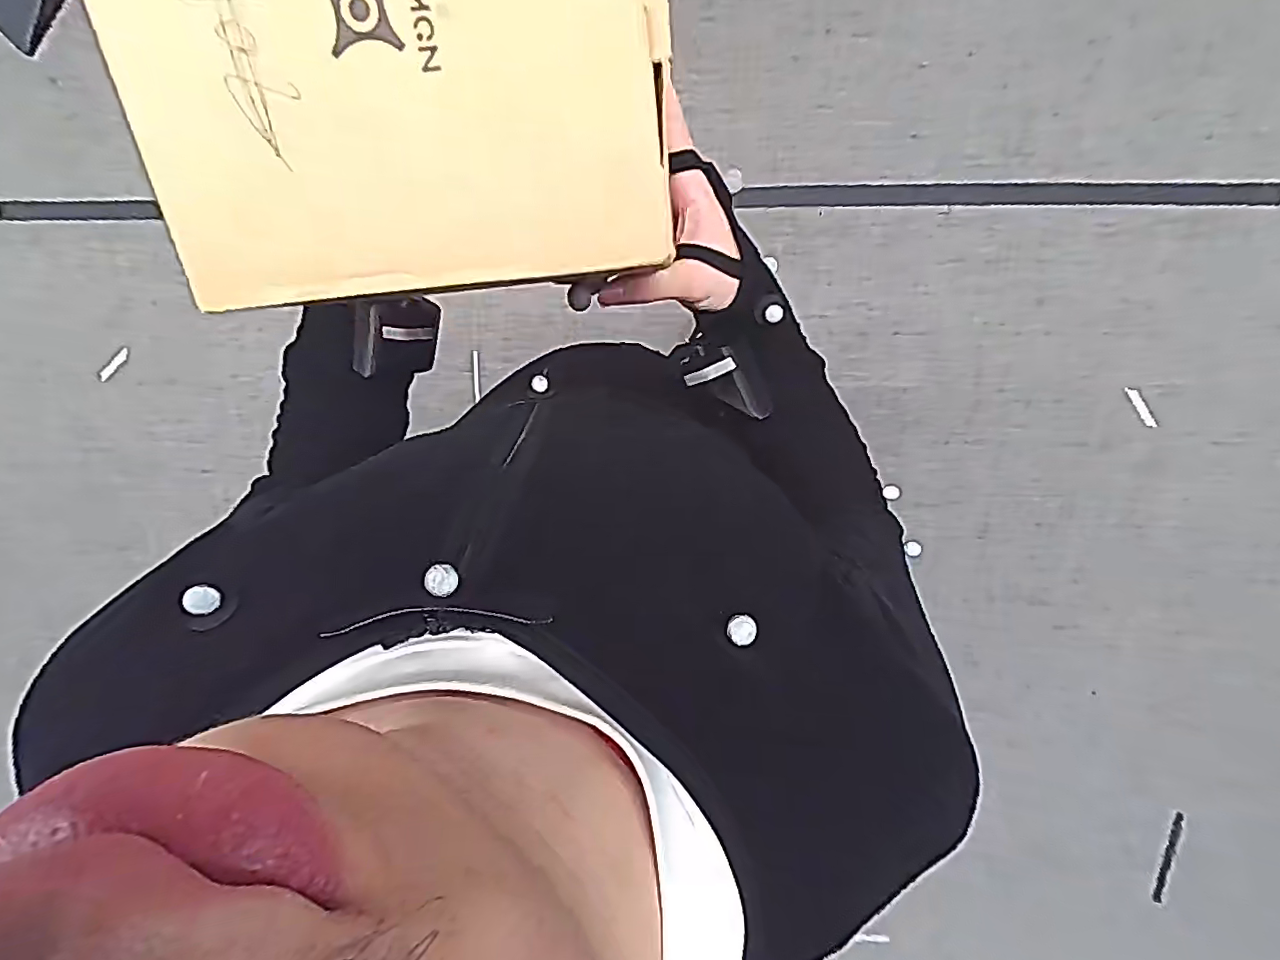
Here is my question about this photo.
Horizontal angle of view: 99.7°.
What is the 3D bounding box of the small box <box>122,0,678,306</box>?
[{"bbox_3d":[-0.081,-0.180,0.253,0.179,0.176,0.168,-7,109,3],"label":"small box"}]
